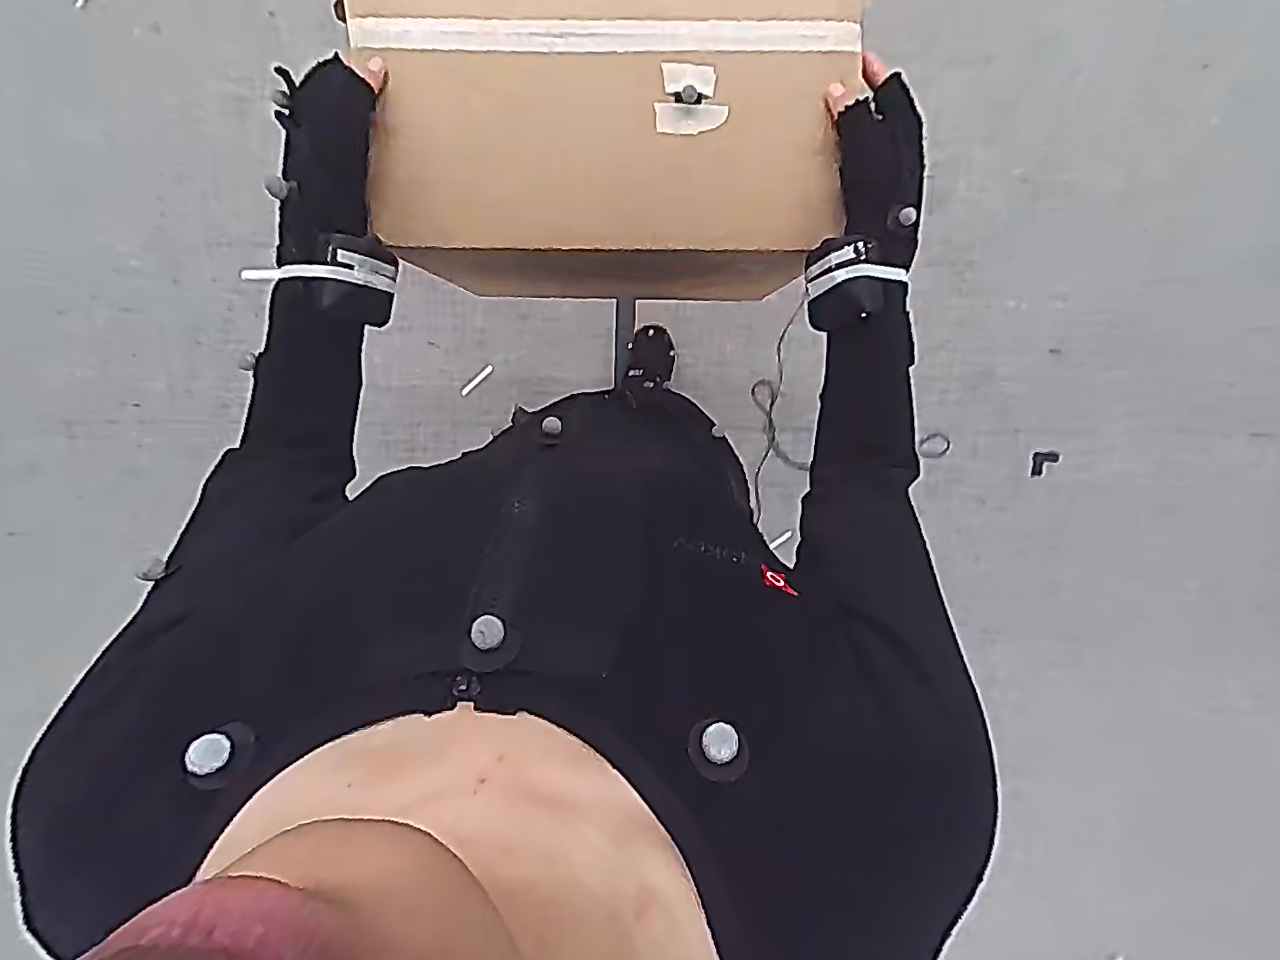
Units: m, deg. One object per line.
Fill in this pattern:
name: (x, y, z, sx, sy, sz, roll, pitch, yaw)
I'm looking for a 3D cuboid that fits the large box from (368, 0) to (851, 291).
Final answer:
large box: (-0.028, -0.394, 0.594, 0.408, 0.320, 0.320, 0, 102, -1)
